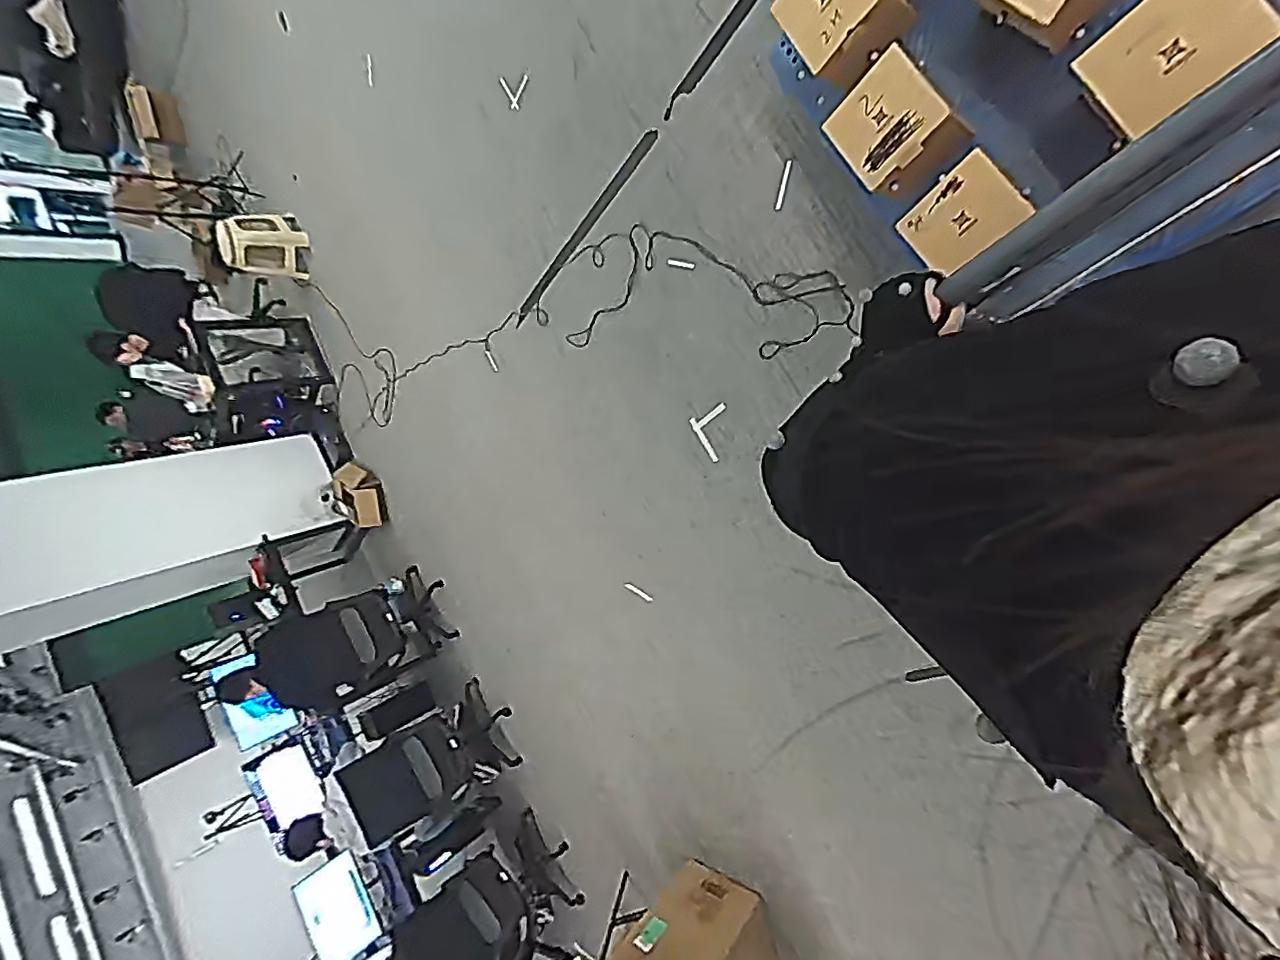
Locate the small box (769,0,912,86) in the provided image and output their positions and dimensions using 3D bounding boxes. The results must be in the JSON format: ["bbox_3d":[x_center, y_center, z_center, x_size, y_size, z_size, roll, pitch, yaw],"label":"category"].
[{"bbox_3d":[0.392,-0.916,1.053,0.168,0.176,0.179,-36,80,44],"label":"small box"}]

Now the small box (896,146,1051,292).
[{"bbox_3d":[0.620,-0.475,1.002,0.168,0.176,0.179,-43,75,42],"label":"small box"}]

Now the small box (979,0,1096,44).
[{"bbox_3d":[0.649,-0.827,0.845,0.179,0.176,0.168,52,133,18],"label":"small box"}]

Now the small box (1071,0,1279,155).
[{"bbox_3d":[0.787,-0.614,0.797,0.168,0.176,0.179,-38,77,44],"label":"small box"}]
